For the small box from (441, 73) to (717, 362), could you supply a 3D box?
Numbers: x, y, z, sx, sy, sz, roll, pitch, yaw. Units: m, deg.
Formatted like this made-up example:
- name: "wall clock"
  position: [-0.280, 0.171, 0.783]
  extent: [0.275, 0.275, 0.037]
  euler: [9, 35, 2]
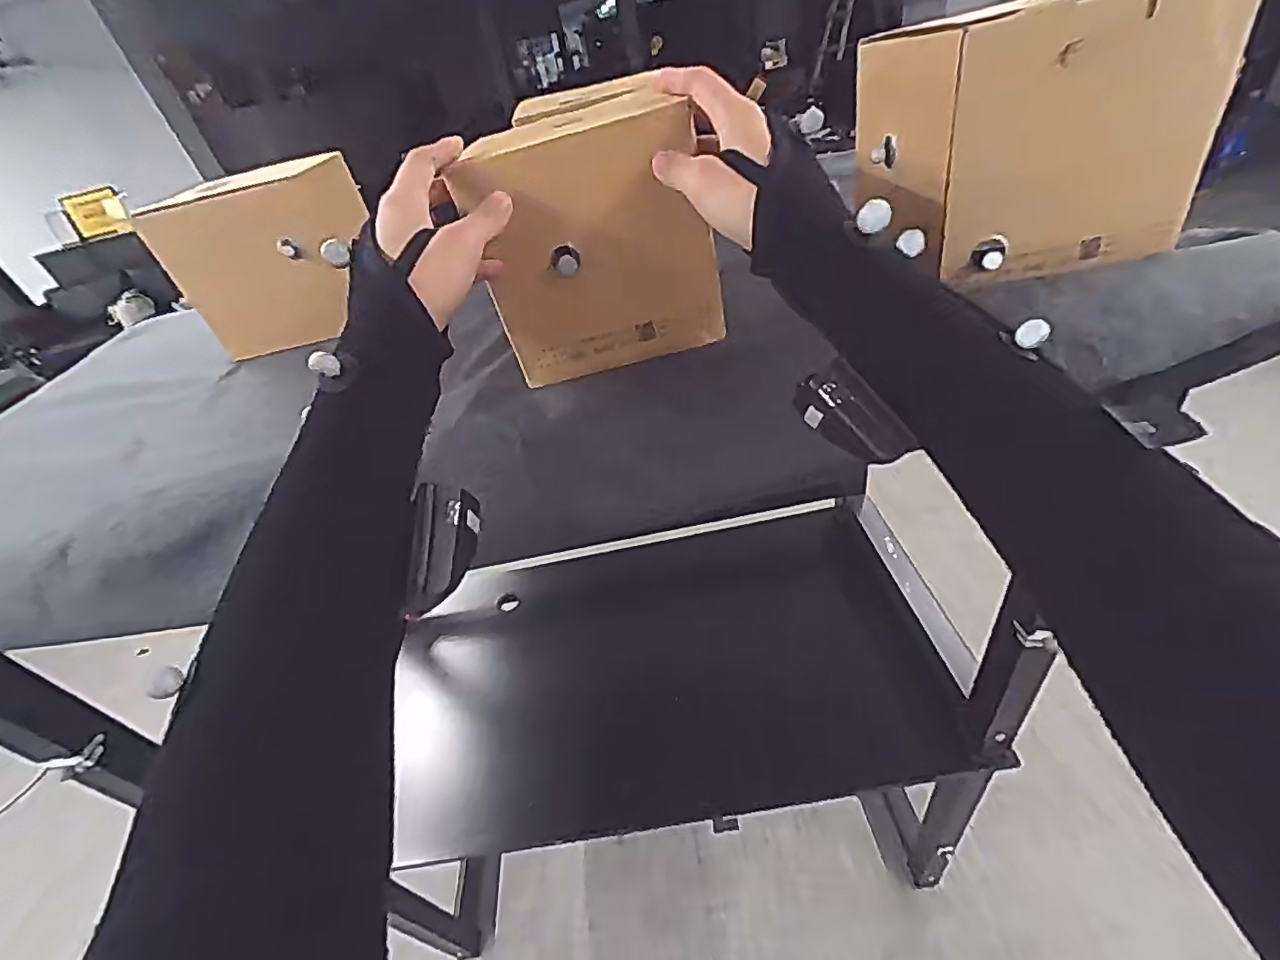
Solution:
- name: "small box"
  position: [-0.039, -0.215, 0.456]
  extent: [0.168, 0.176, 0.179]
  euler: [-14, 37, 4]

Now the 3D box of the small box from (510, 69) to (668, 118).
- name: "small box"
  position: [-0.044, -0.376, 0.655]
  extent: [0.168, 0.176, 0.179]
  euler: [-12, 38, 3]

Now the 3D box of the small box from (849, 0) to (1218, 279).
- name: "small box"
  position: [0.273, -0.268, 0.417]
  extent: [0.168, 0.176, 0.179]
  euler: [-11, 35, 6]
